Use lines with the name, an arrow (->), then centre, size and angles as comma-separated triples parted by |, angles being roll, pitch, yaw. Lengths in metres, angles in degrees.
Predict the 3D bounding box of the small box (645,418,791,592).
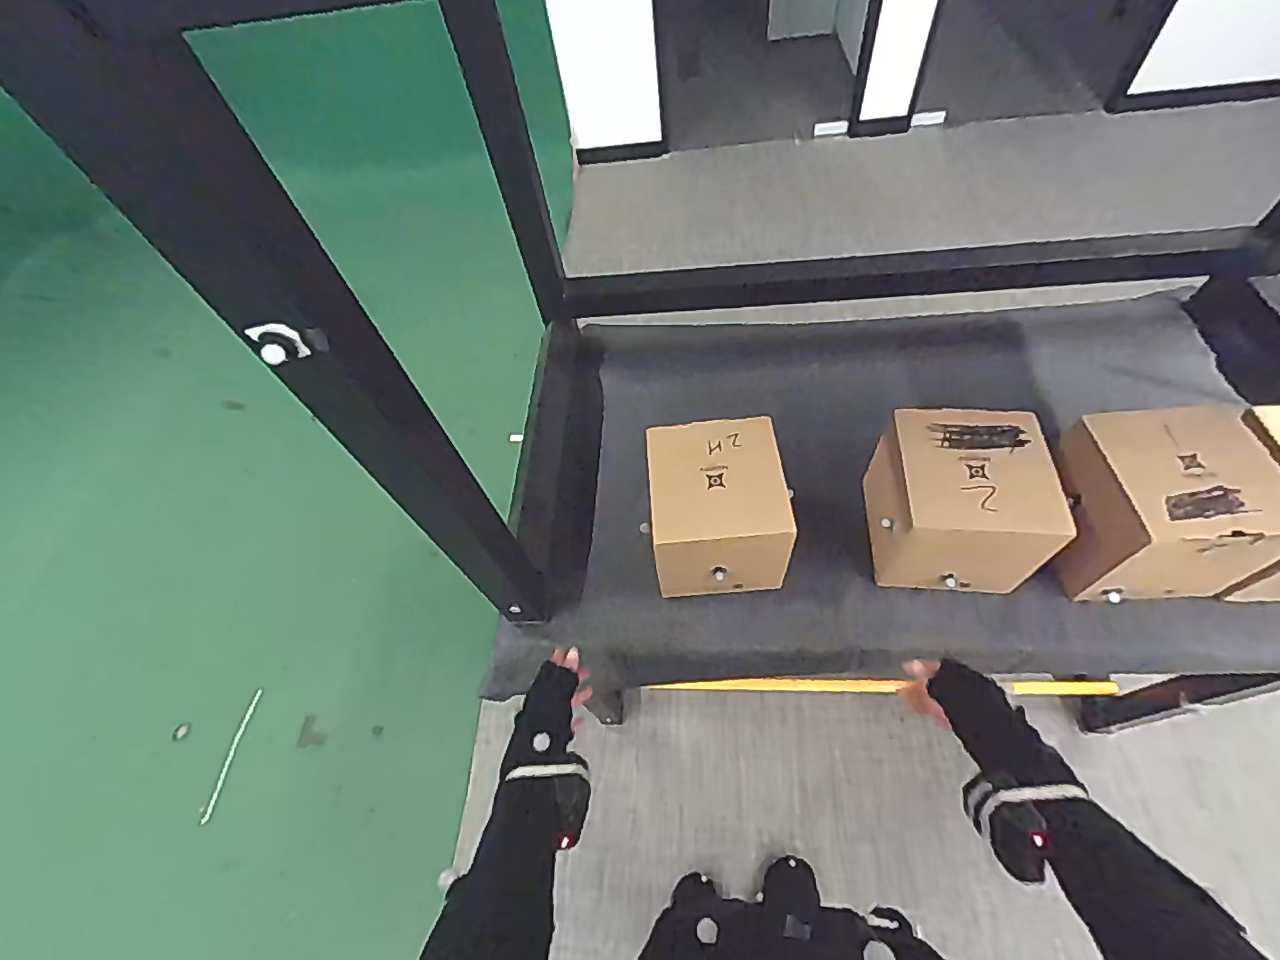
small box -> 0.099, 0.043, 0.728 | 0.168, 0.176, 0.179 | -5, 55, 4
